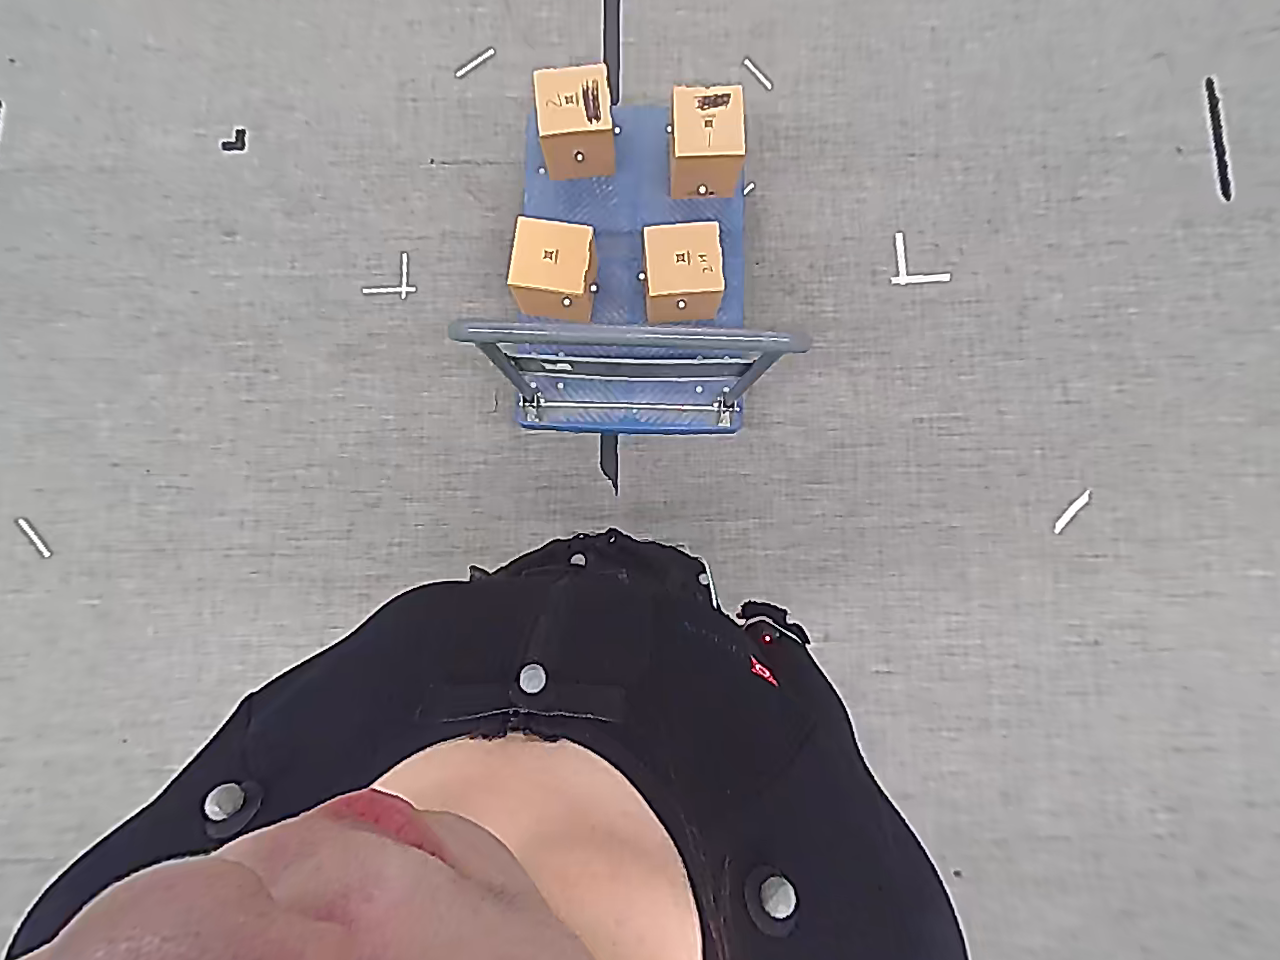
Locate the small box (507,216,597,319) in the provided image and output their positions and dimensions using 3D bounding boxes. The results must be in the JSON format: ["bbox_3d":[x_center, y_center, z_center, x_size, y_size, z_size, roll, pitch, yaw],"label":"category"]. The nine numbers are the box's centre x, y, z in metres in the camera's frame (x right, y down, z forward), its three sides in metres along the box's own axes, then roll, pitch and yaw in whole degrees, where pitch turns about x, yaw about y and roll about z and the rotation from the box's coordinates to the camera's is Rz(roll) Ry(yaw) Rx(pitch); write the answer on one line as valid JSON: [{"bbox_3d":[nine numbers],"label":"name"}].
[{"bbox_3d":[-0.205,-0.503,1.303,0.179,0.176,0.168,7,84,-1],"label":"small box"}]

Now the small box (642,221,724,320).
[{"bbox_3d":[0.099,-0.497,1.303,0.179,0.176,0.168,-4,85,0],"label":"small box"}]

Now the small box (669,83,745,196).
[{"bbox_3d":[0.159,-0.831,1.331,0.168,0.176,0.179,-2,86,0],"label":"small box"}]
